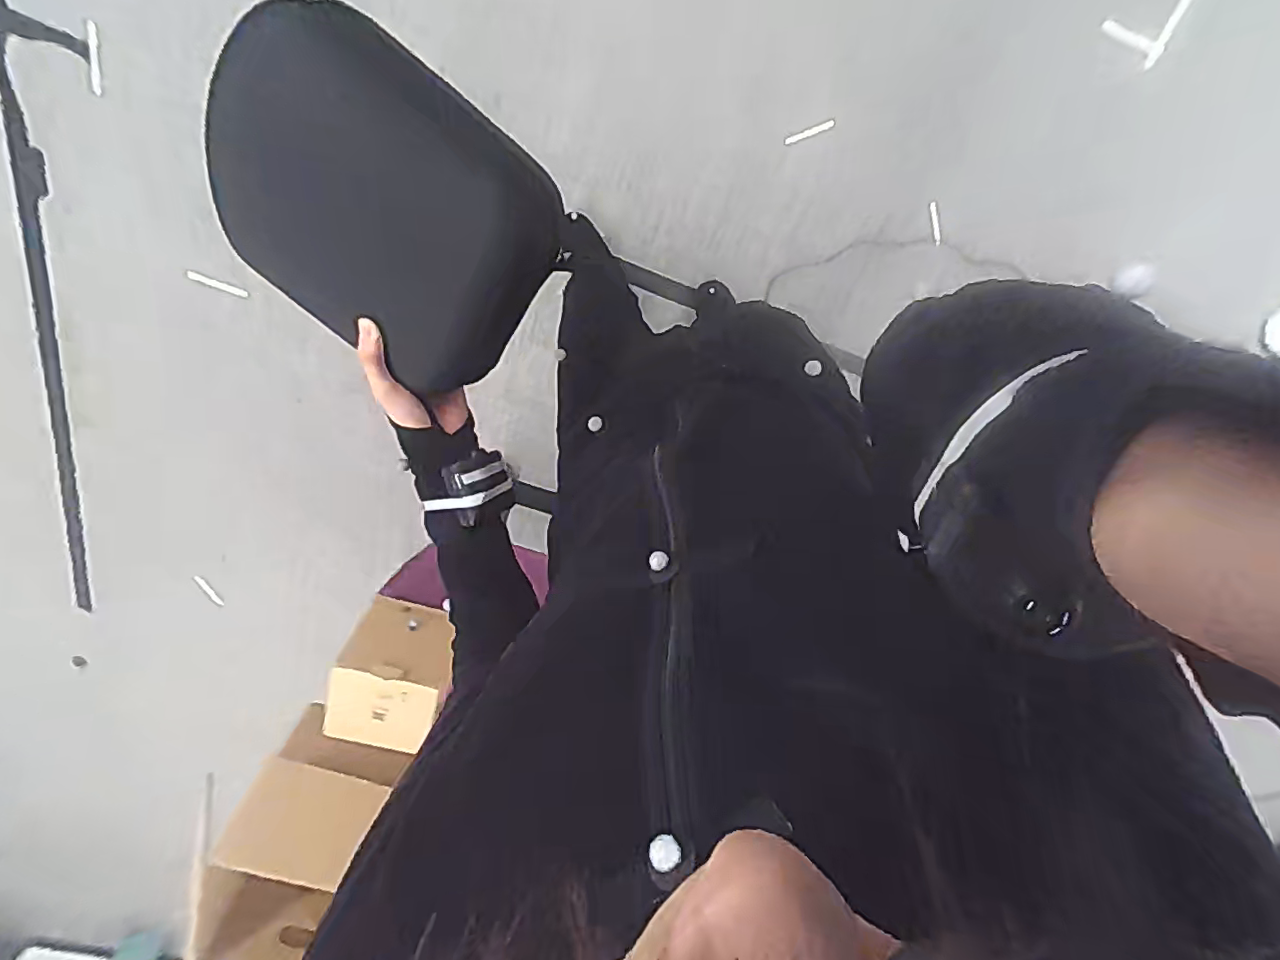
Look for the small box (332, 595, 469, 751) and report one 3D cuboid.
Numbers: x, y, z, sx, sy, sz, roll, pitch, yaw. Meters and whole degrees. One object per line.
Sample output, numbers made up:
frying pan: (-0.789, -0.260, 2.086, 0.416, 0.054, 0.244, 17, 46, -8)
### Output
small box: (-0.416, 0.337, 0.957, 0.168, 0.176, 0.179, 17, 116, -10)
